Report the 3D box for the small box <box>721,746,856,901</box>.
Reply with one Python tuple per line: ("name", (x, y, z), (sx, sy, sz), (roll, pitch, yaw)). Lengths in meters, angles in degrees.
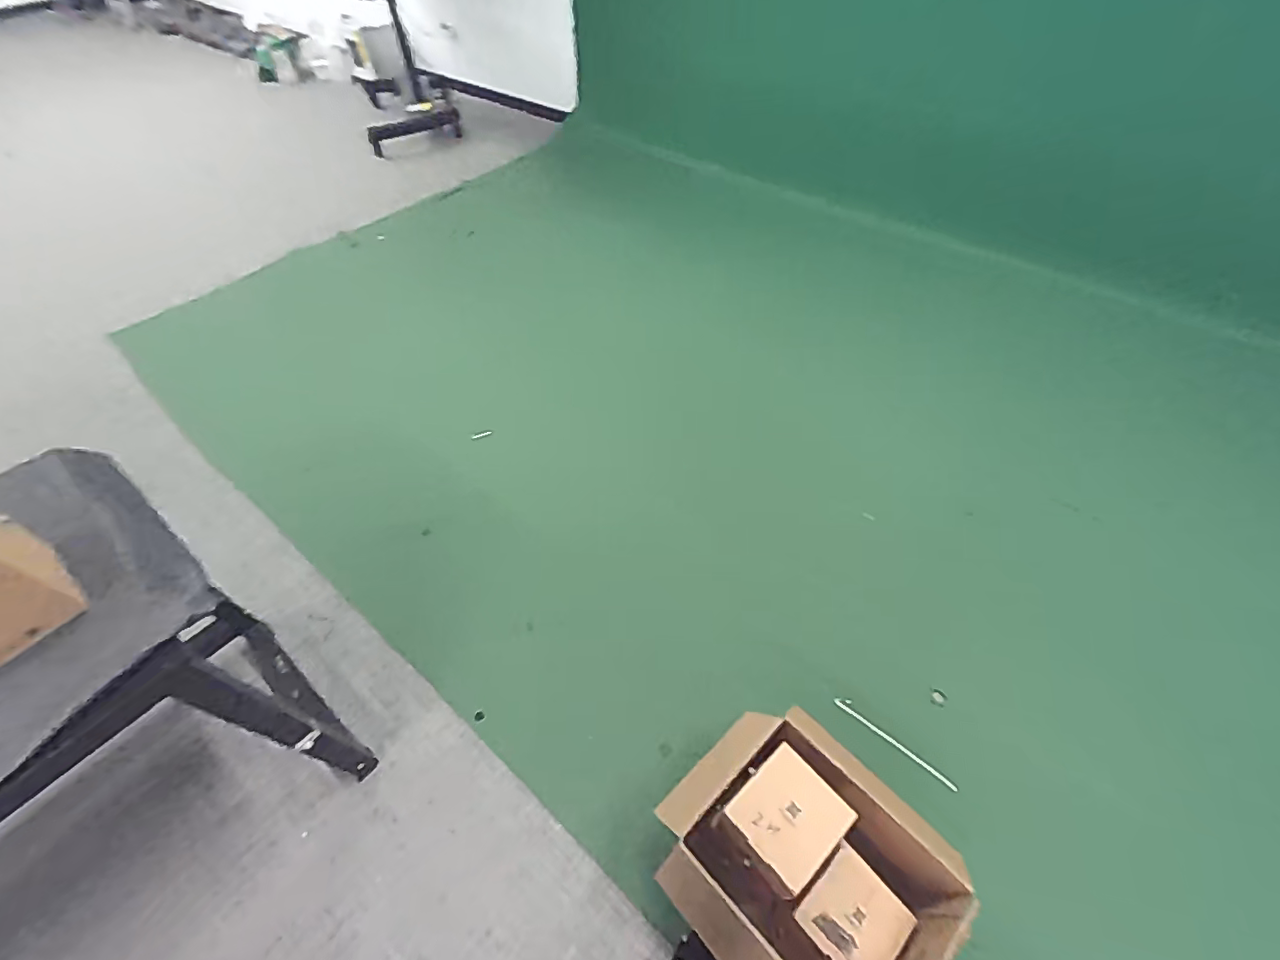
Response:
("small box", (0.268, 0.647, 1.018), (0.179, 0.176, 0.168), (-34, 57, -23))
